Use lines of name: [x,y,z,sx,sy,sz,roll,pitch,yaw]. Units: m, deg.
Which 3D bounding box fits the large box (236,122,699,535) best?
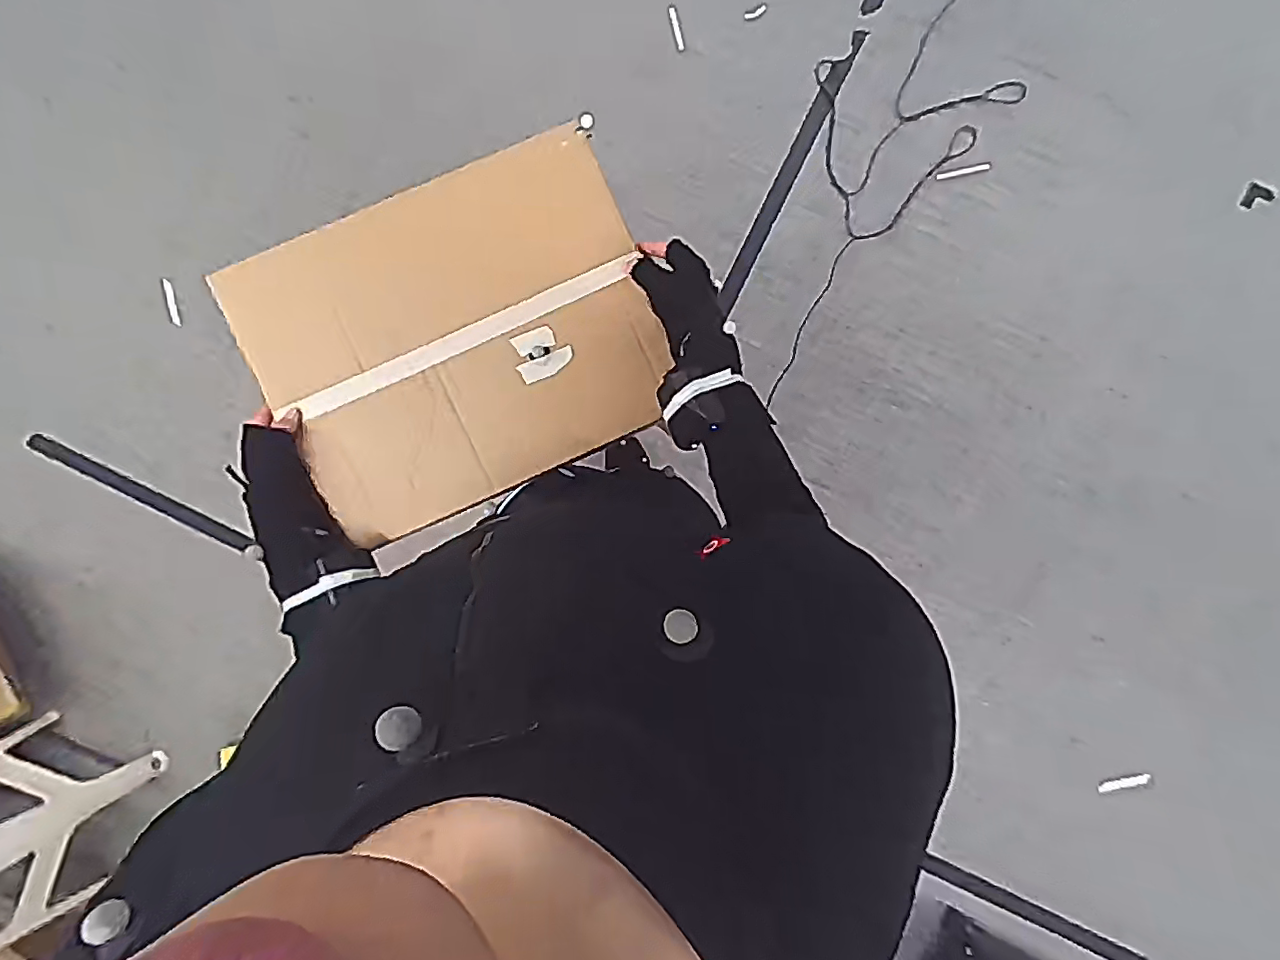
large box: [-0.185,-0.165,0.716,0.408,0.320,0.320,-23,96,-3]
